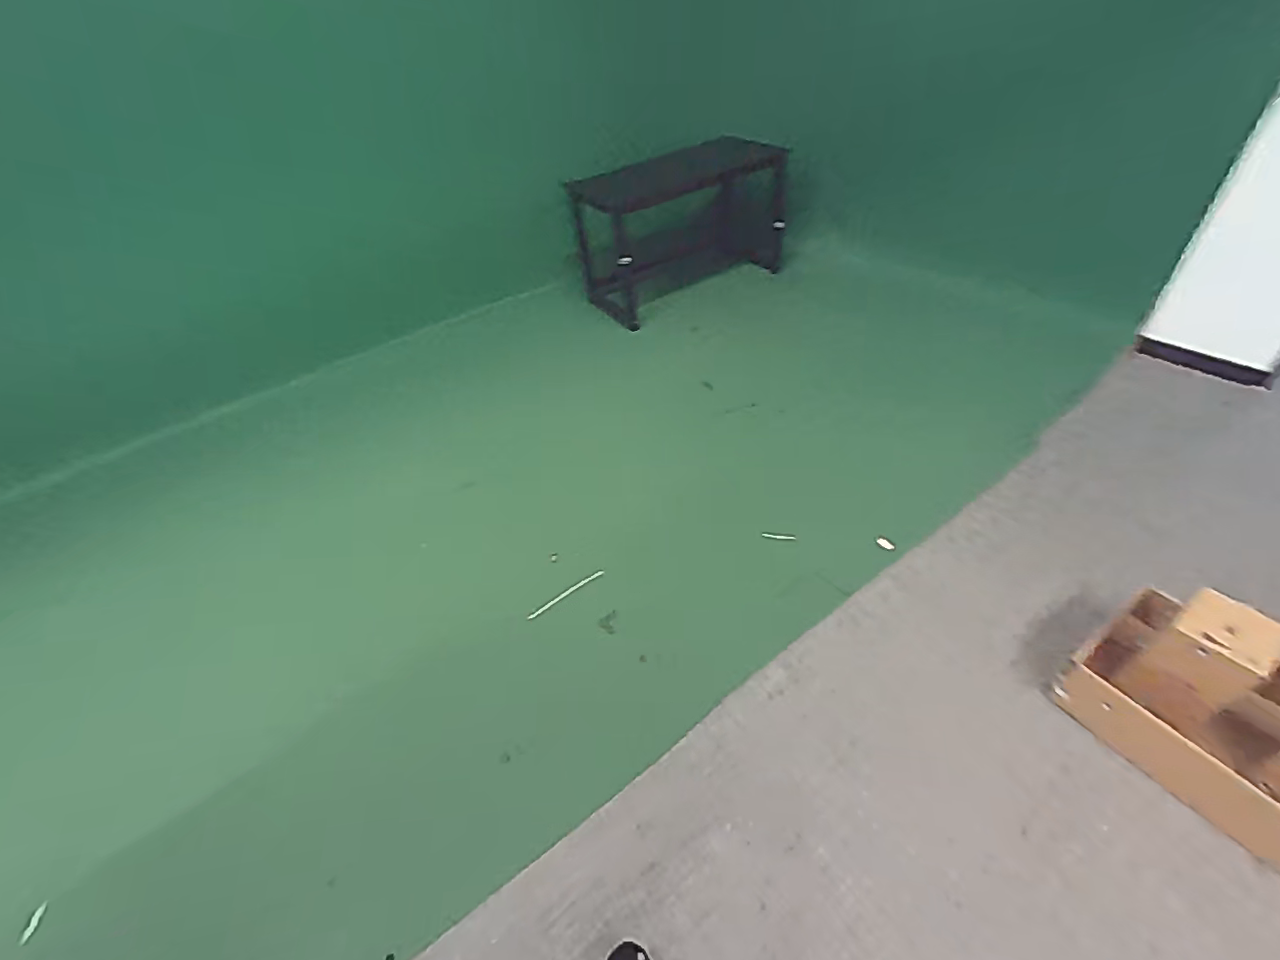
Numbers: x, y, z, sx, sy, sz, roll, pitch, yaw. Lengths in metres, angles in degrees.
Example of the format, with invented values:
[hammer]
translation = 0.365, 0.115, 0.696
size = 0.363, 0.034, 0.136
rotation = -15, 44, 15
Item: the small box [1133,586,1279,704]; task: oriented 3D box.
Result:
[small box]
translation = 1.347, 0.396, 1.298
size = 0.179, 0.176, 0.168
rotation = -31, 47, -23
